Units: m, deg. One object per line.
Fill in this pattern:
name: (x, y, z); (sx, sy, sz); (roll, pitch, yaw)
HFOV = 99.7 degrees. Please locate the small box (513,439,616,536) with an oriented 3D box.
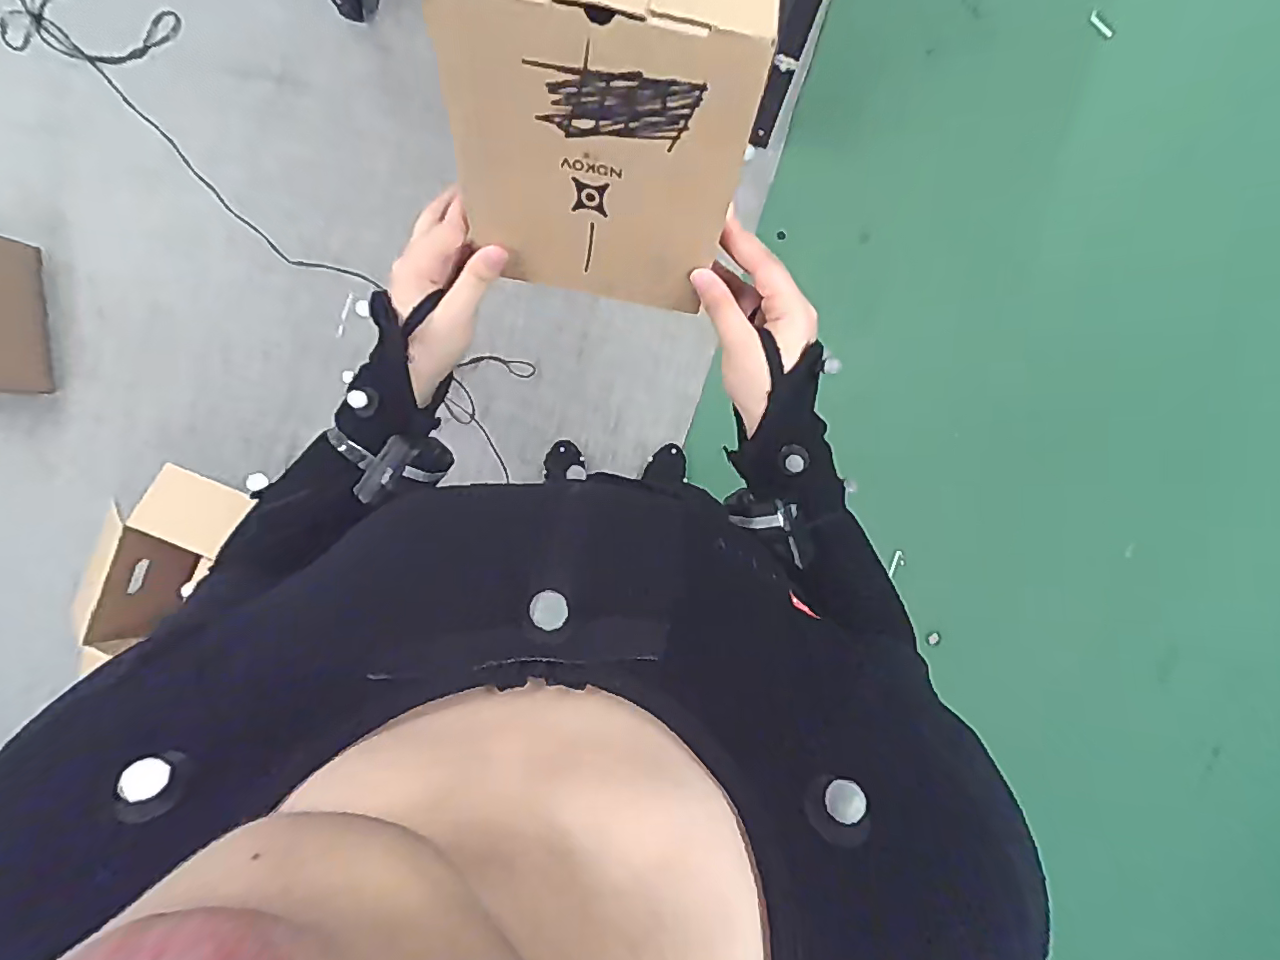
small box: (-0.187, 0.015, 1.391); (0.176, 0.168, 0.179); (48, 68, -30)
